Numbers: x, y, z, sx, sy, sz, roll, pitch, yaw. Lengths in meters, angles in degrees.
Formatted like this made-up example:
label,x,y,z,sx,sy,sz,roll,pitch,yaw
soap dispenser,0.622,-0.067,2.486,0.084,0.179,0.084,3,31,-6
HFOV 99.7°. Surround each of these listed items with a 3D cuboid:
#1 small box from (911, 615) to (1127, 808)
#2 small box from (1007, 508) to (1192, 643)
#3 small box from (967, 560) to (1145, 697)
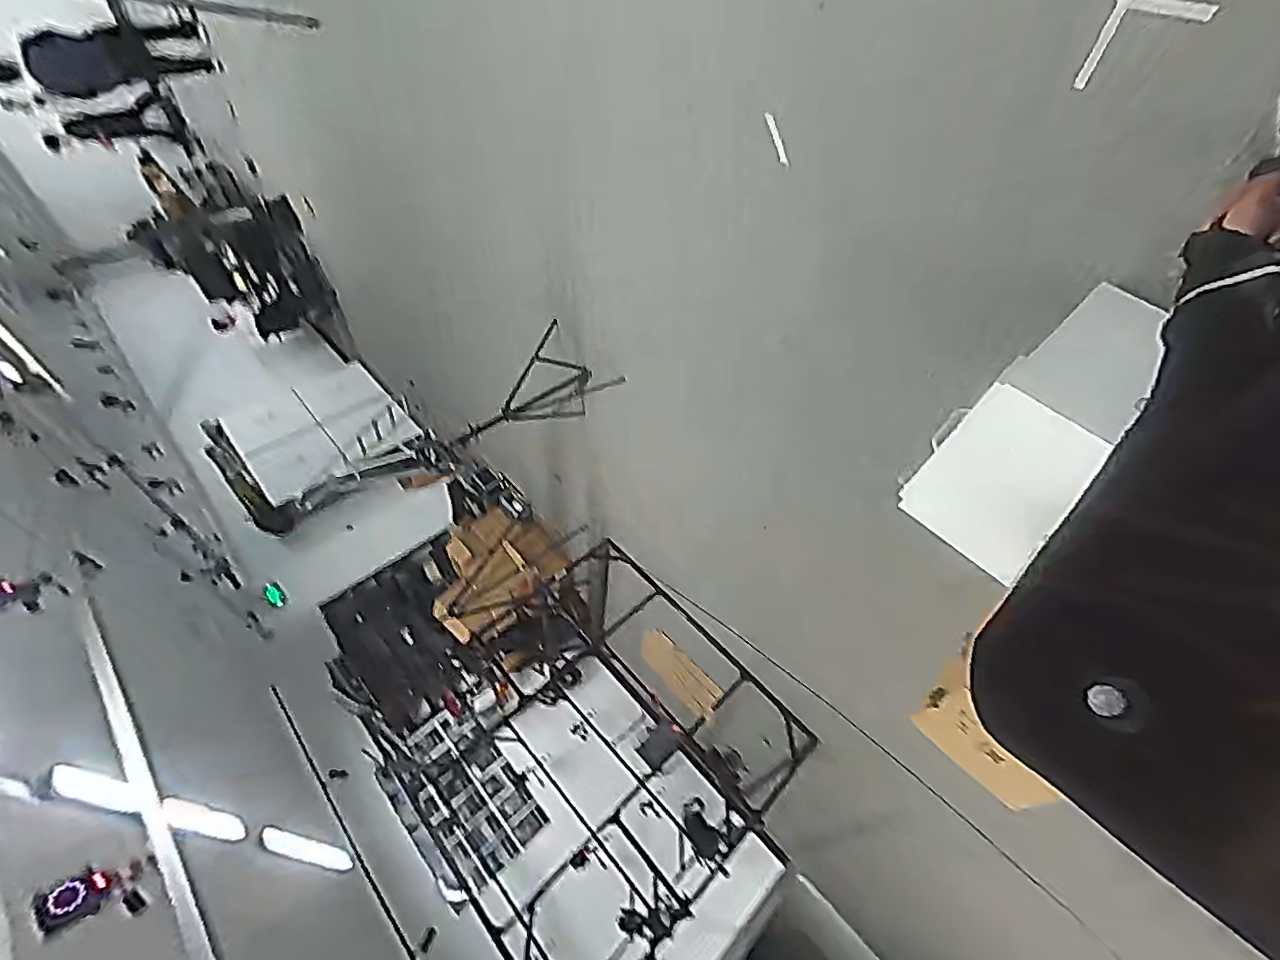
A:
label,x,y,z,sx,sy,sz,roll,pitch,yaw
small box,0.549,0.334,0.791,0.179,0.176,0.168,41,148,24
small box,0.794,0.182,0.946,0.179,0.176,0.168,42,148,25
small box,0.668,0.264,0.883,0.168,0.176,0.179,42,149,24
